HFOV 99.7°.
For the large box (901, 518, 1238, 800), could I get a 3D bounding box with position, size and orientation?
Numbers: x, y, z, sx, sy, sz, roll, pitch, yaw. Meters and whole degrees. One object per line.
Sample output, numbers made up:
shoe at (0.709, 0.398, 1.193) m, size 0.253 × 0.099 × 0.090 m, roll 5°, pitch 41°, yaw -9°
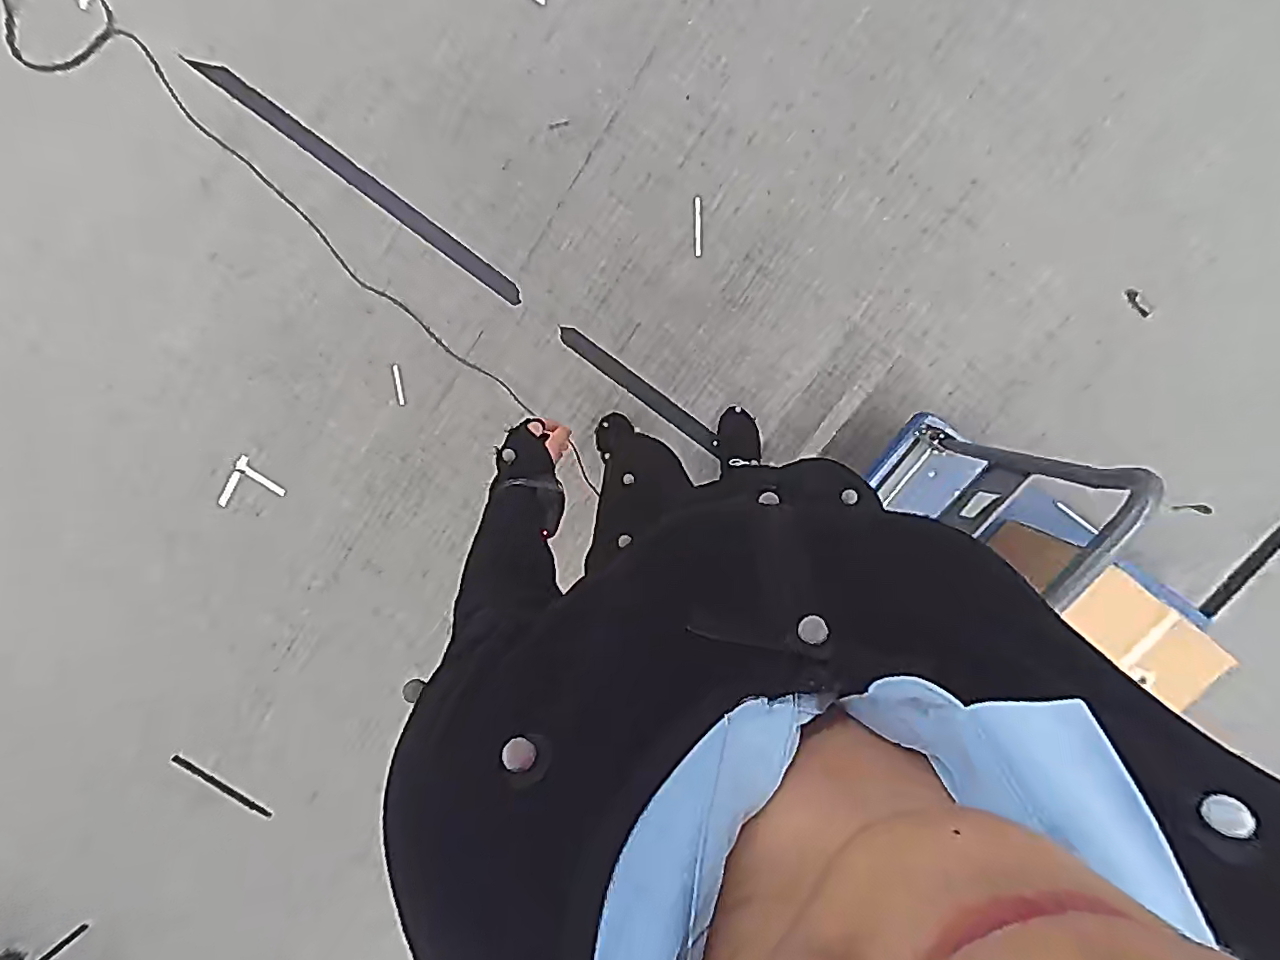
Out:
large box at (0.855, 0.352, 1.149) m, size 0.320 × 0.320 × 0.408 m, roll 37°, pitch 100°, yaw -4°
